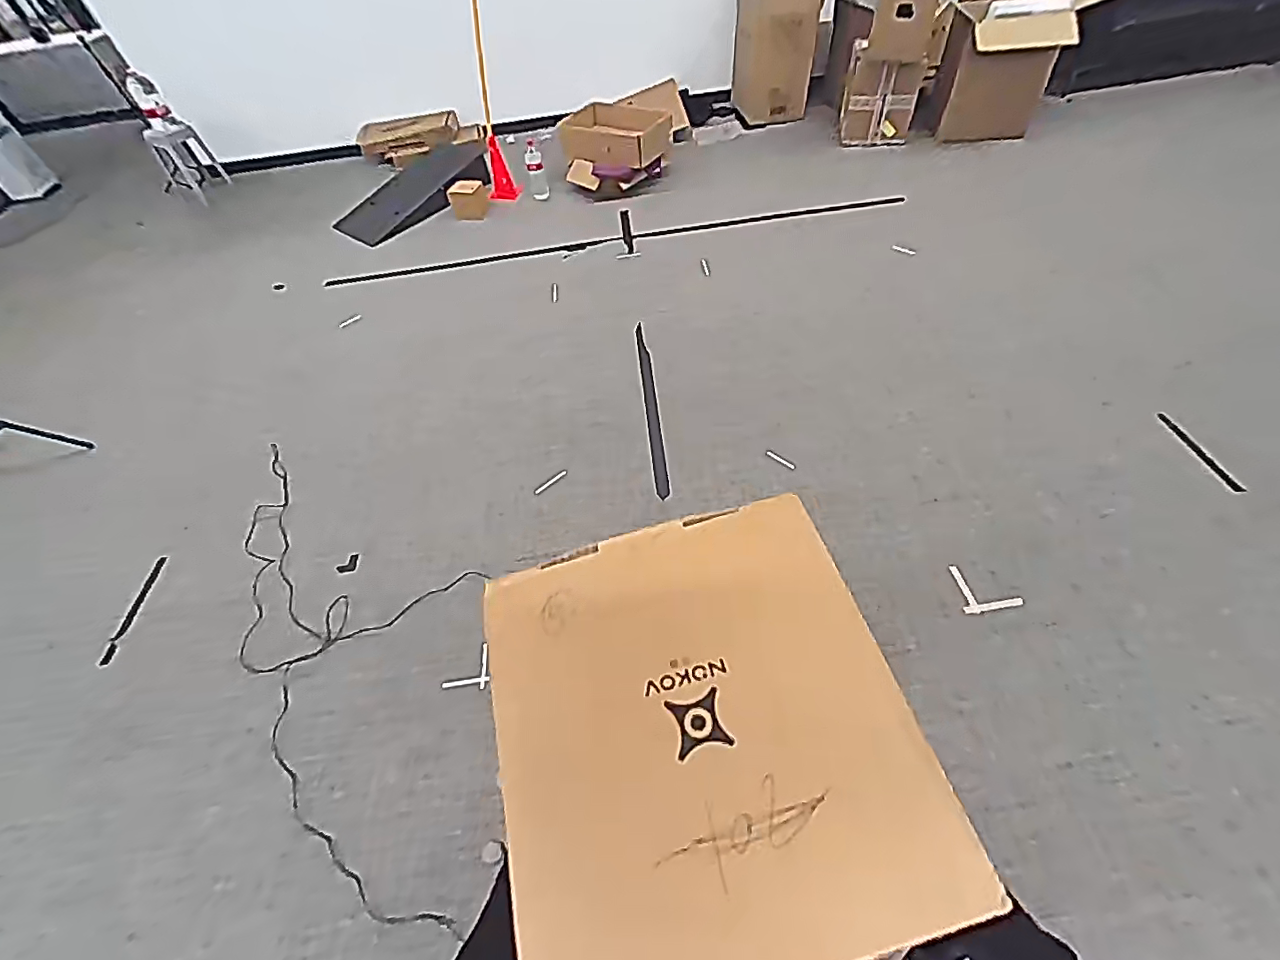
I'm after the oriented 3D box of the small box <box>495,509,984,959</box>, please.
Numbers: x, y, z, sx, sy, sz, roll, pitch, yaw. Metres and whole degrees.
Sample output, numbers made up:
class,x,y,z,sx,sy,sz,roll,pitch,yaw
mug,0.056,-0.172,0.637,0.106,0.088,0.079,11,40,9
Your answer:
class,x,y,z,sx,sy,sz,roll,pitch,yaw
small box,0.031,0.147,0.299,0.168,0.176,0.179,-16,56,-3
